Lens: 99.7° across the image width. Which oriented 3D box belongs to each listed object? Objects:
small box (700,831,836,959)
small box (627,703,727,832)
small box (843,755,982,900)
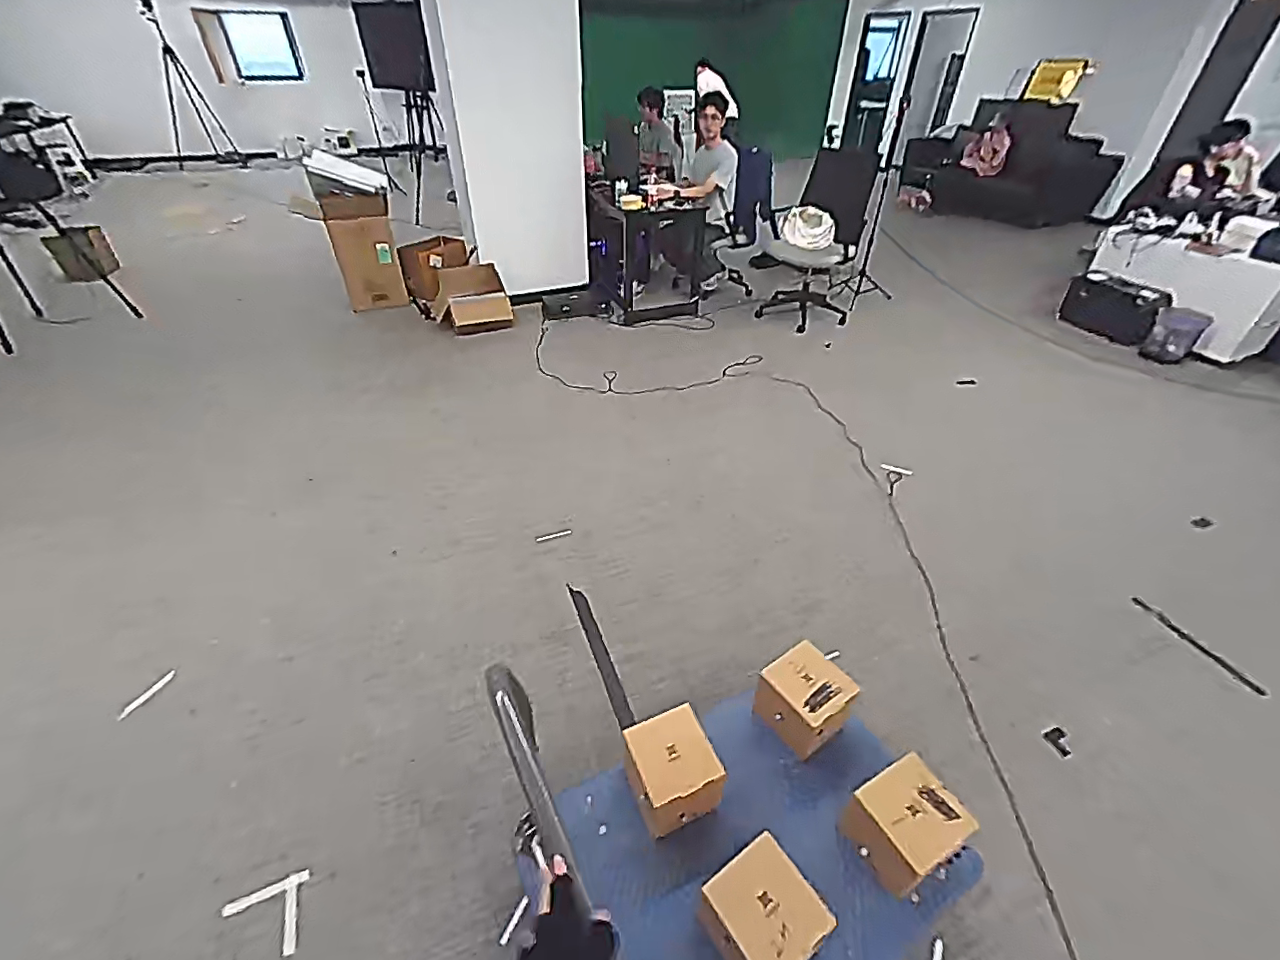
[{"bbox_3d":[0.225,0.810,1.002,0.168,0.176,0.179,-22,44,-25],"label":"small box"},{"bbox_3d":[0.074,0.643,1.212,0.168,0.176,0.179,-15,42,-18],"label":"small box"},{"bbox_3d":[0.551,0.718,1.119,0.179,0.176,0.168,-19,42,-20],"label":"small box"}]
